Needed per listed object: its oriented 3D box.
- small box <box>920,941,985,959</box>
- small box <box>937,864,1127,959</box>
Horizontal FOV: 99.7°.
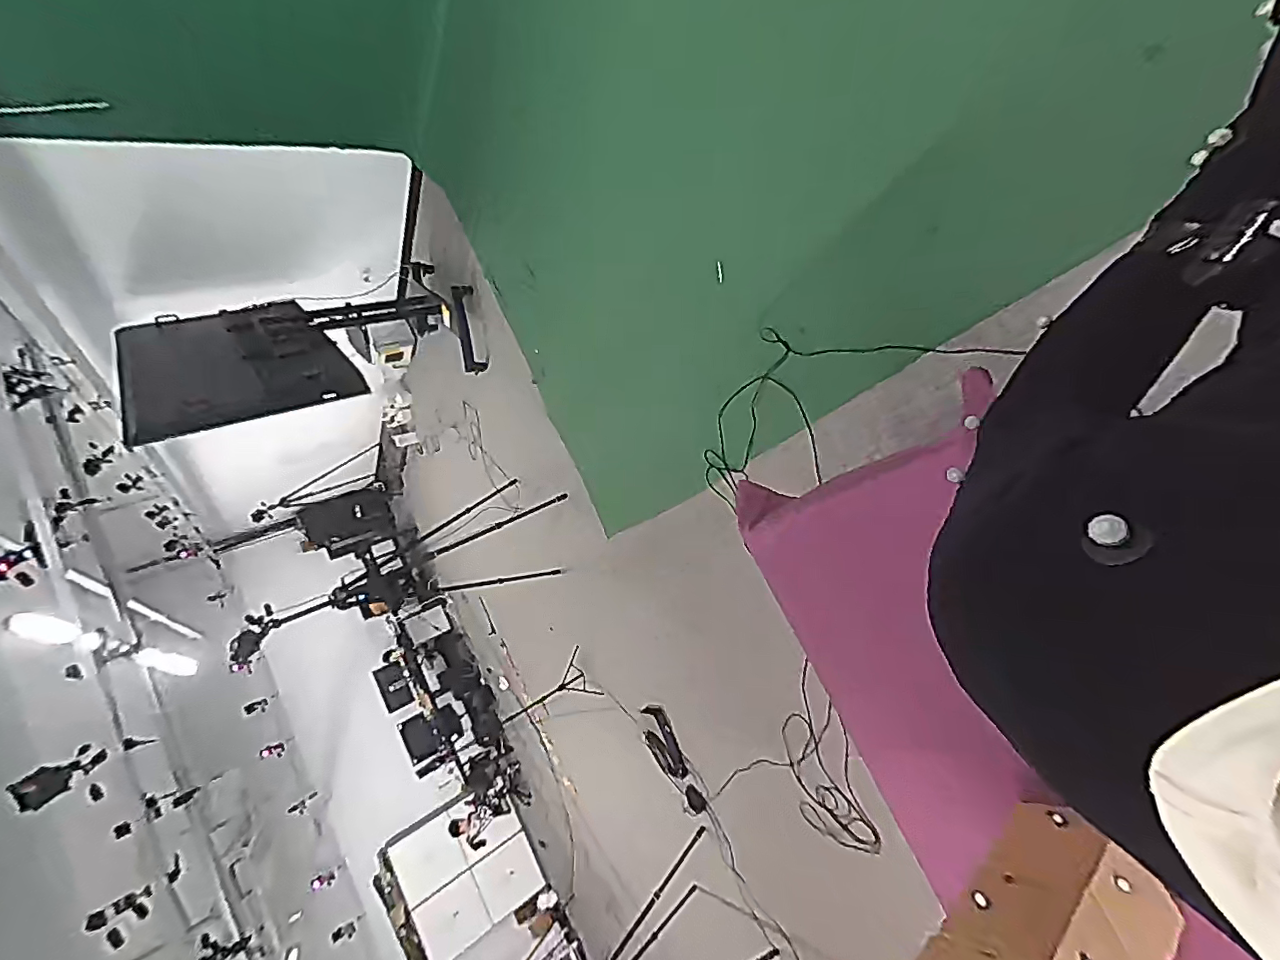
[{"bbox_3d":[0.458,0.768,0.713,0.168,0.176,0.179,63,146,10],"label":"small box"},{"bbox_3d":[0.589,0.717,0.796,0.179,0.176,0.168,63,147,9],"label":"small box"}]
